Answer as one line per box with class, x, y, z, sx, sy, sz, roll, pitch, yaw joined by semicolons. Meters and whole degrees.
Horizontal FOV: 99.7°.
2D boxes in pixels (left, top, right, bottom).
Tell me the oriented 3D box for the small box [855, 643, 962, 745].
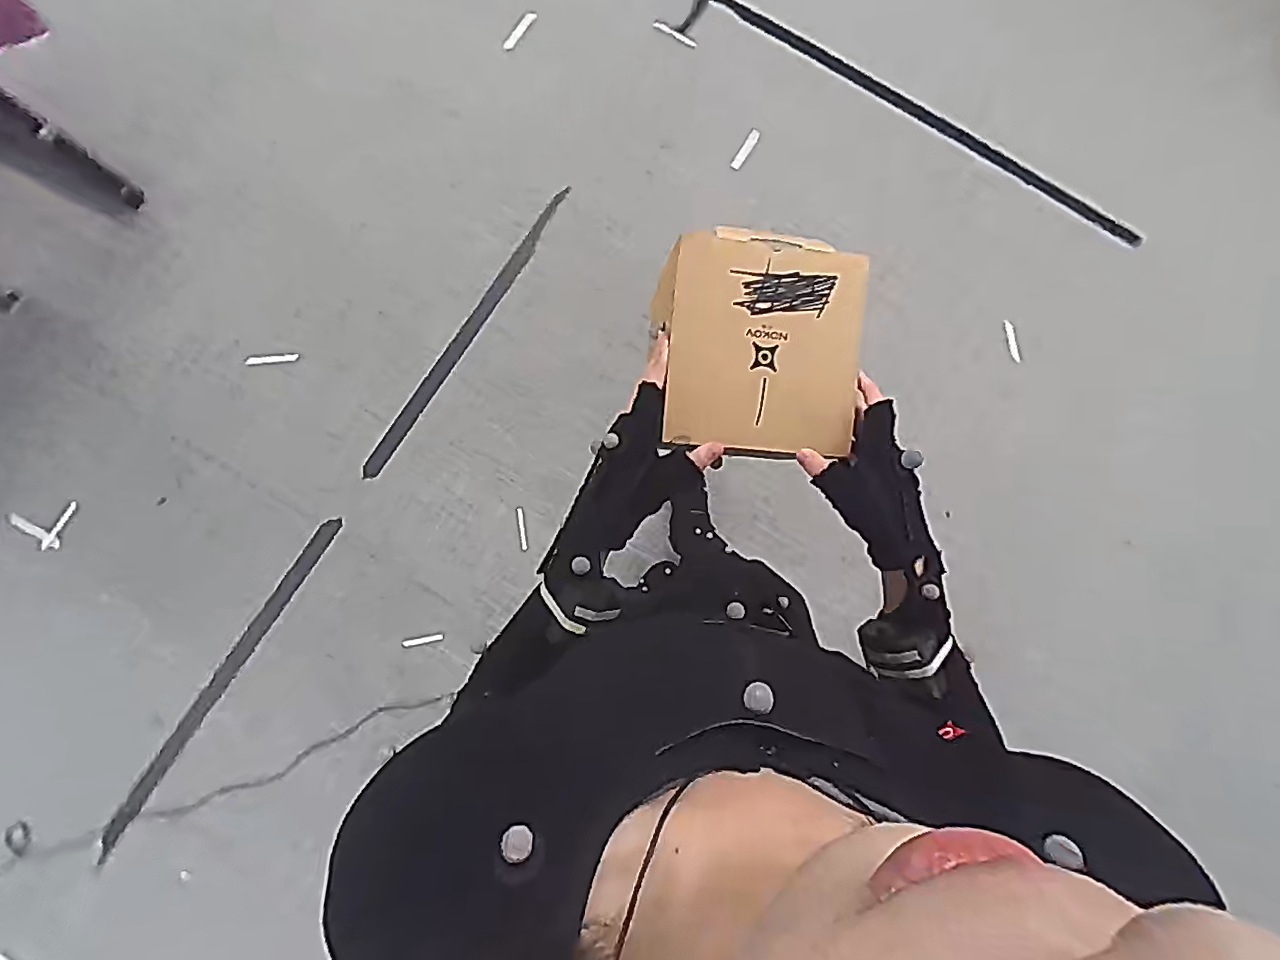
small box;0.707;0.563;1.448;0.168;0.176;0.179;30;83;1
